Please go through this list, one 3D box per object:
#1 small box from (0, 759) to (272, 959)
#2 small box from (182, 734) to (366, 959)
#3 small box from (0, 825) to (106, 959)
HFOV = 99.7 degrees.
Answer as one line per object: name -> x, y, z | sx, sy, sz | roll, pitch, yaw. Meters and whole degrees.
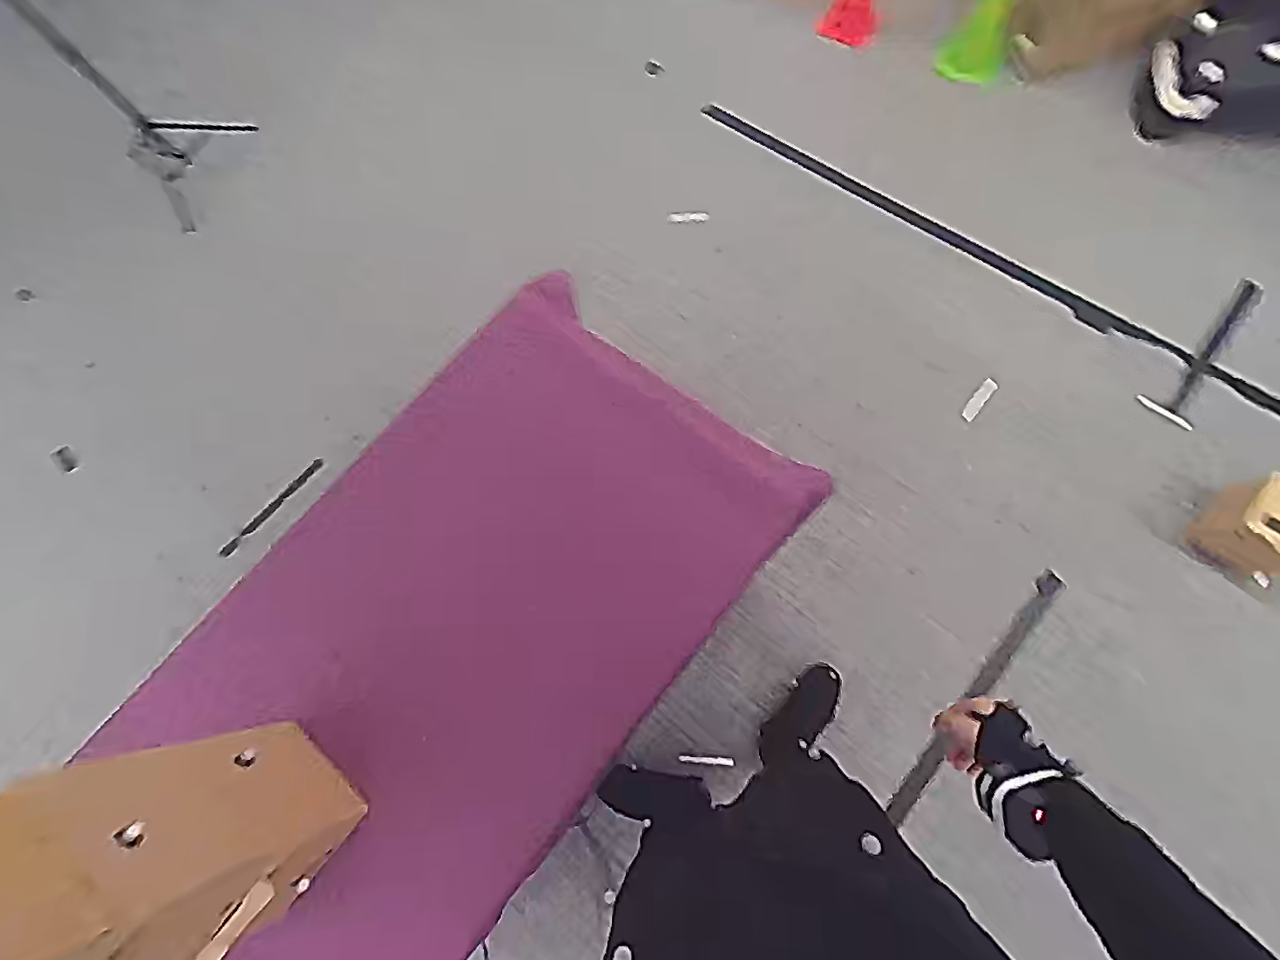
small box -> -0.502, 0.393, 0.504 | 0.179, 0.176, 0.168 | 32, 79, 14
small box -> -0.487, 0.438, 0.661 | 0.179, 0.176, 0.168 | 37, 80, 13
small box -> -0.528, 0.358, 0.346 | 0.179, 0.176, 0.168 | 28, 78, 12
